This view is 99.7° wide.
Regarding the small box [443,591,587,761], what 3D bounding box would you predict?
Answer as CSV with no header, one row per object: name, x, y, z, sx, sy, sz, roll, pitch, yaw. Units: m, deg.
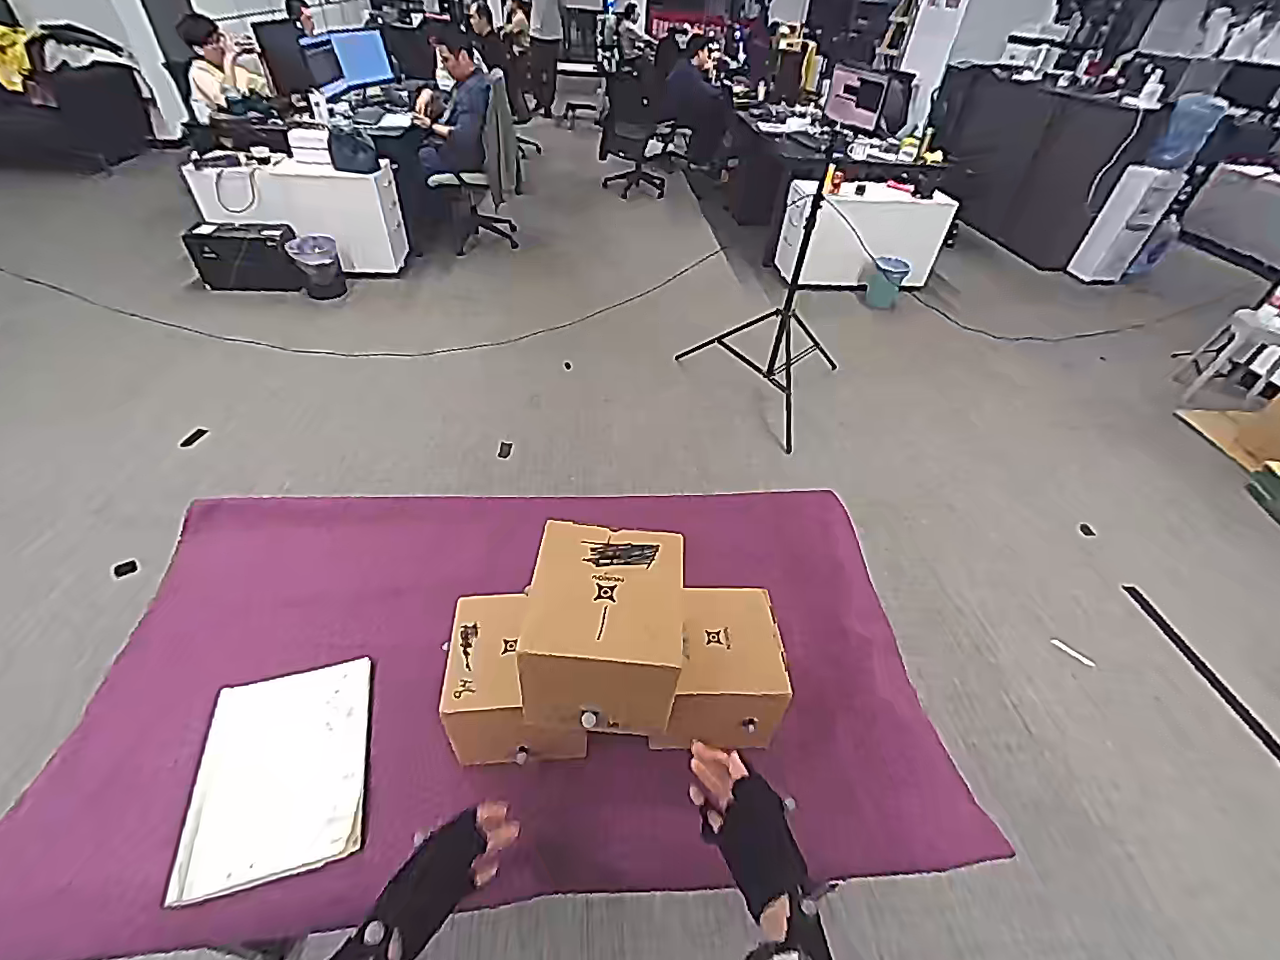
small box,-0.160,0.273,0.754,0.179,0.176,0.168,0,42,-8

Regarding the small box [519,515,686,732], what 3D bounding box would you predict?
small box,-0.038,0.167,0.635,0.168,0.176,0.179,5,43,0

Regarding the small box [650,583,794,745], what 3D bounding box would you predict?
small box,0.103,0.267,0.783,0.179,0.176,0.168,0,41,-2
